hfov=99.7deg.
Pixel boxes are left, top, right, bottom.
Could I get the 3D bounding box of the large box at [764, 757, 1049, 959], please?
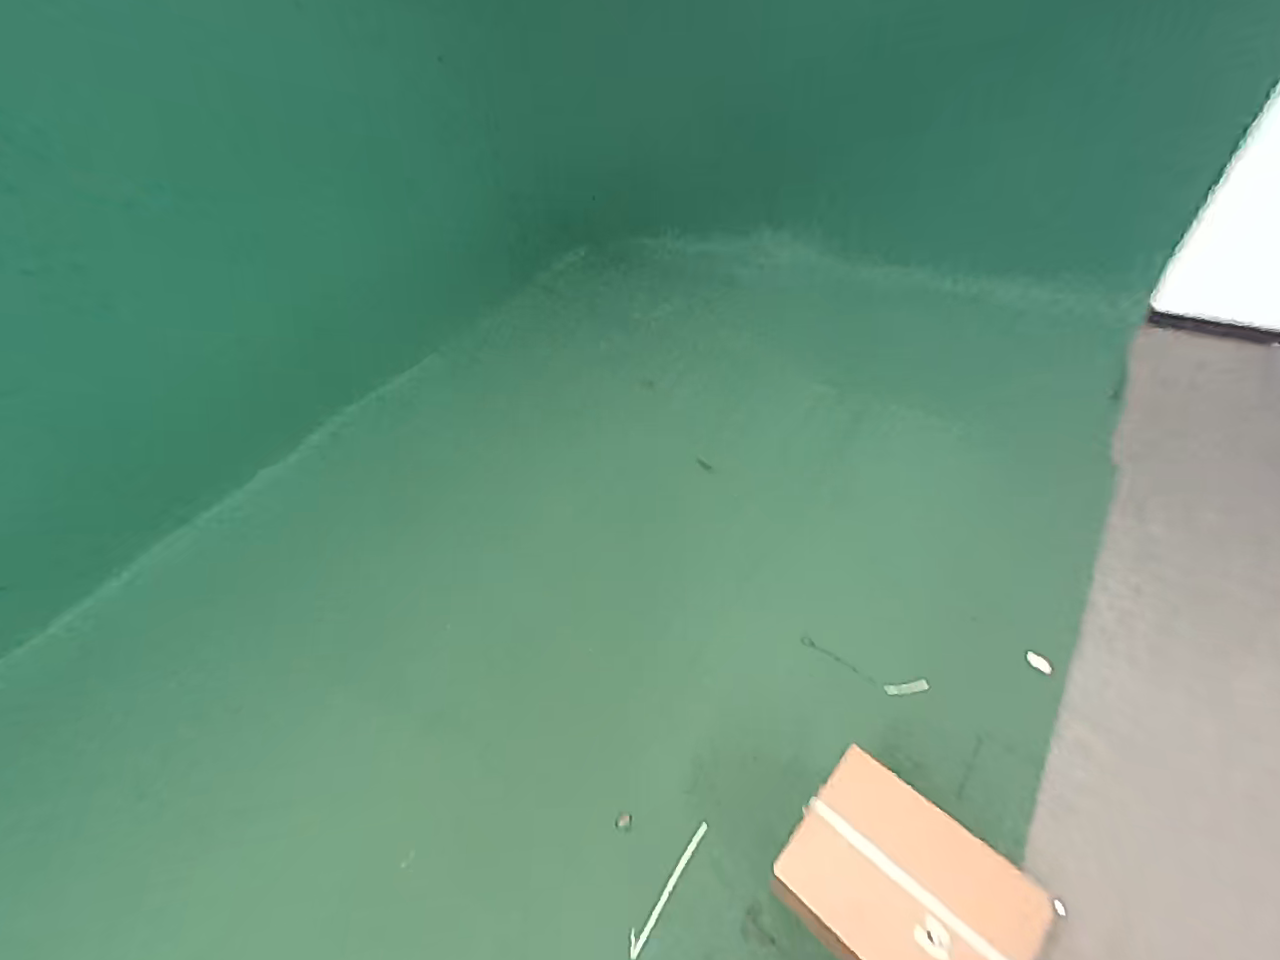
[{"bbox_3d":[0.518,0.881,1.132,0.408,0.320,0.320,32,60,31],"label":"large box"}]
